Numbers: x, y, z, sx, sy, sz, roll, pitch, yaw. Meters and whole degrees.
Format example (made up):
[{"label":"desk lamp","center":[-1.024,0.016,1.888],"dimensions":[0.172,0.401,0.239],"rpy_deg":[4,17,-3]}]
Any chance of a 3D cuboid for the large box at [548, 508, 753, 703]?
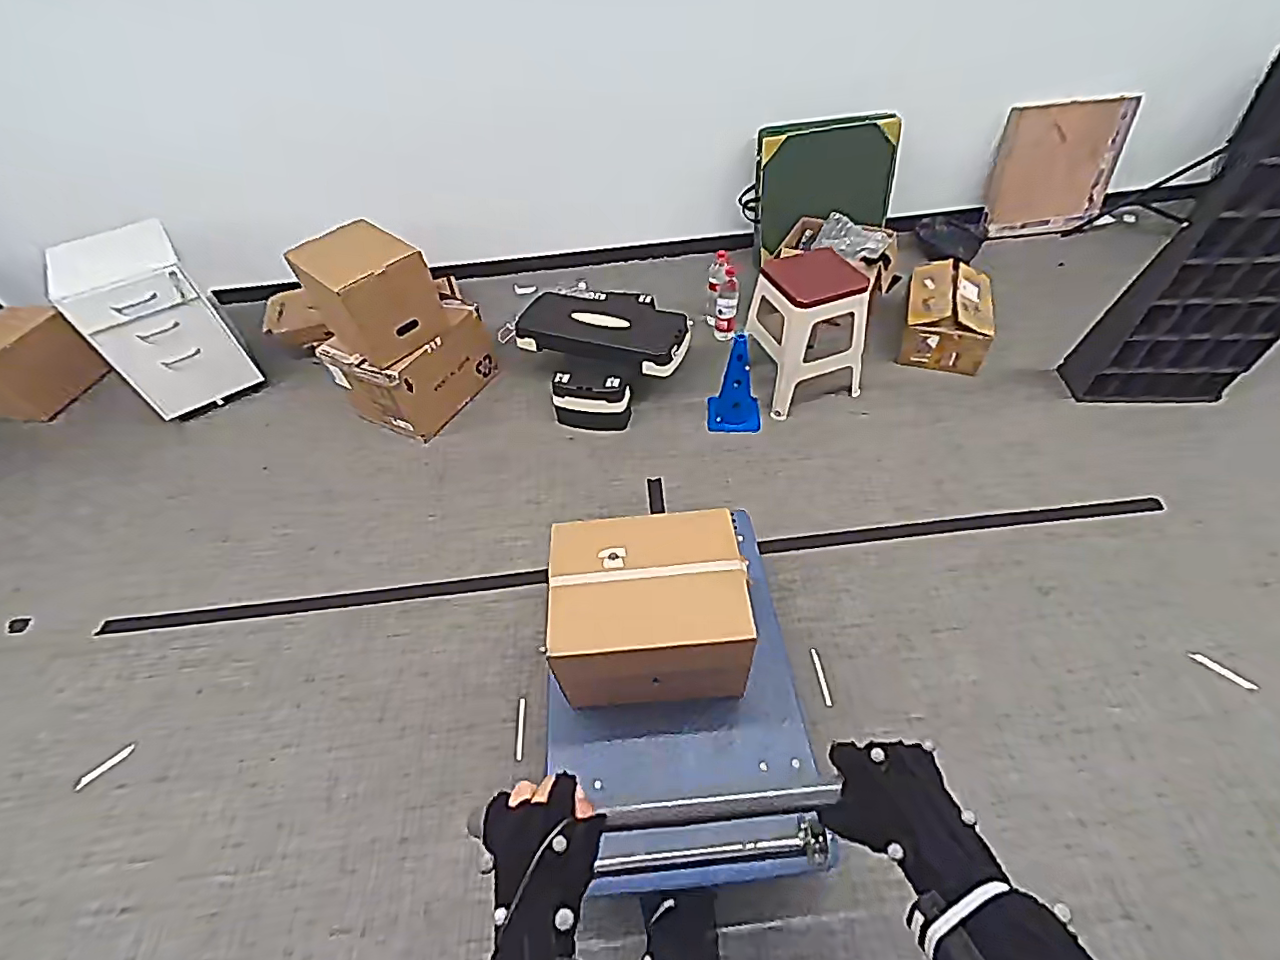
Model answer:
[{"label":"large box","center":[0.020,0.295,1.240],"dimensions":[0.408,0.320,0.320],"rpy_deg":[-6,50,1]}]
